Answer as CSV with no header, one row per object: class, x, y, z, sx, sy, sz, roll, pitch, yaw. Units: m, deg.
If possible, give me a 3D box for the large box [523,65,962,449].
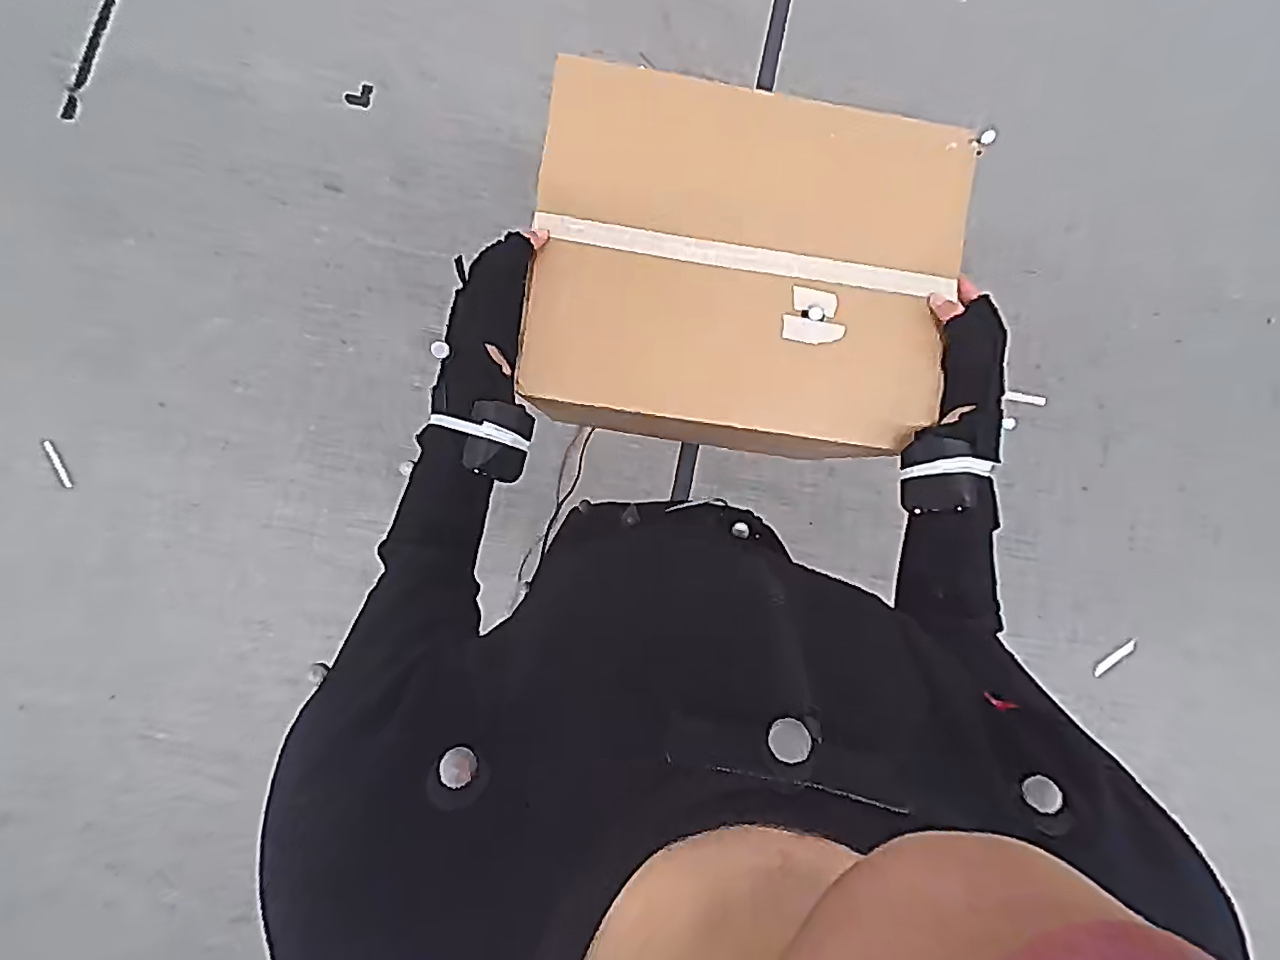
large box,0.091,-0.218,0.670,0.408,0.320,0.320,8,92,-4
